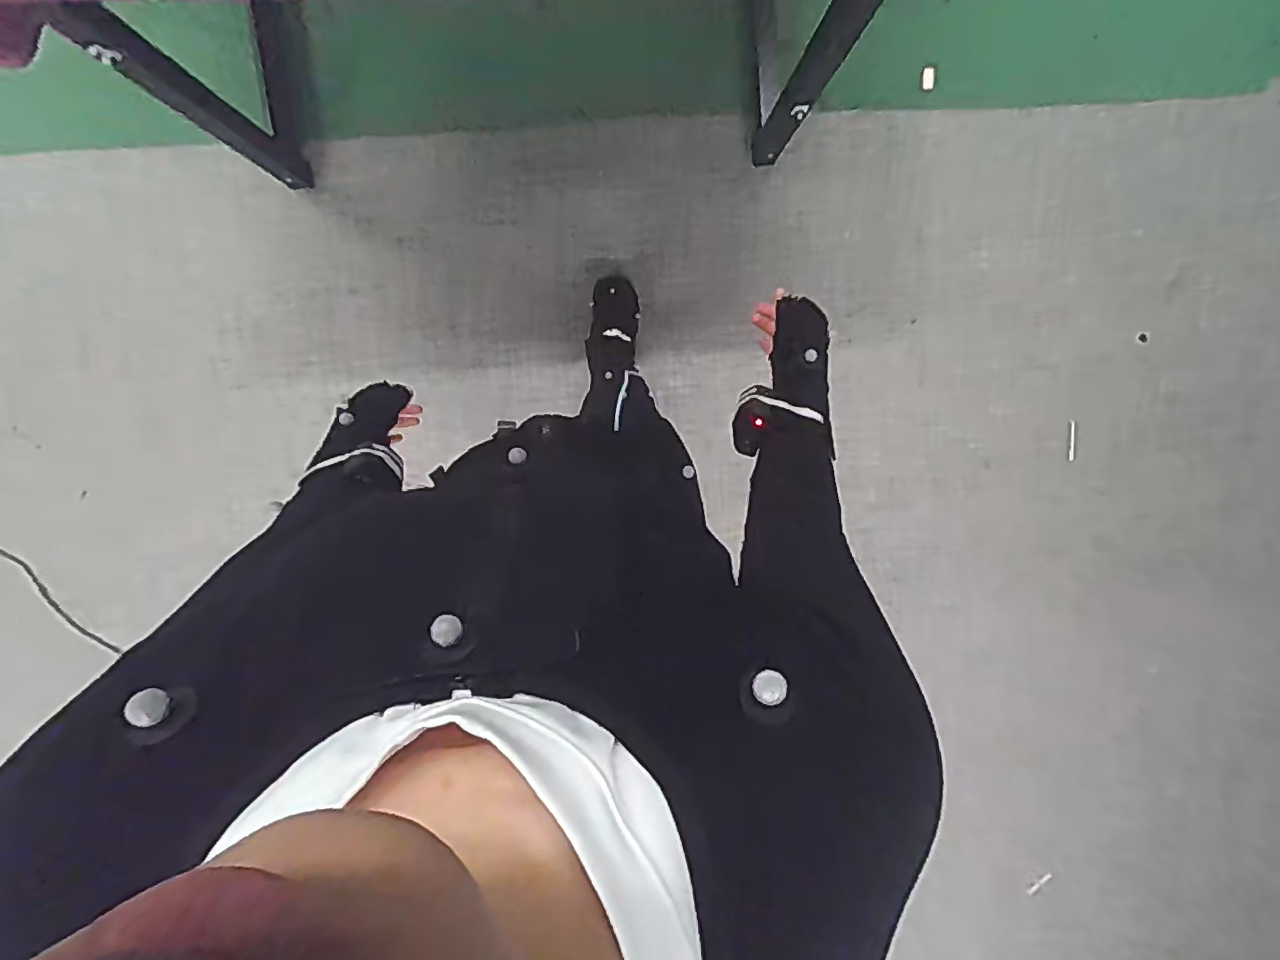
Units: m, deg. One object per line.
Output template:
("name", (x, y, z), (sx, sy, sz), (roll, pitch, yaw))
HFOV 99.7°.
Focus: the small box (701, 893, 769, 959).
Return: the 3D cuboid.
("small box", (0.278, 1.388, 1.616), (0.168, 0.176, 0.179), (-2, 98, -4))
